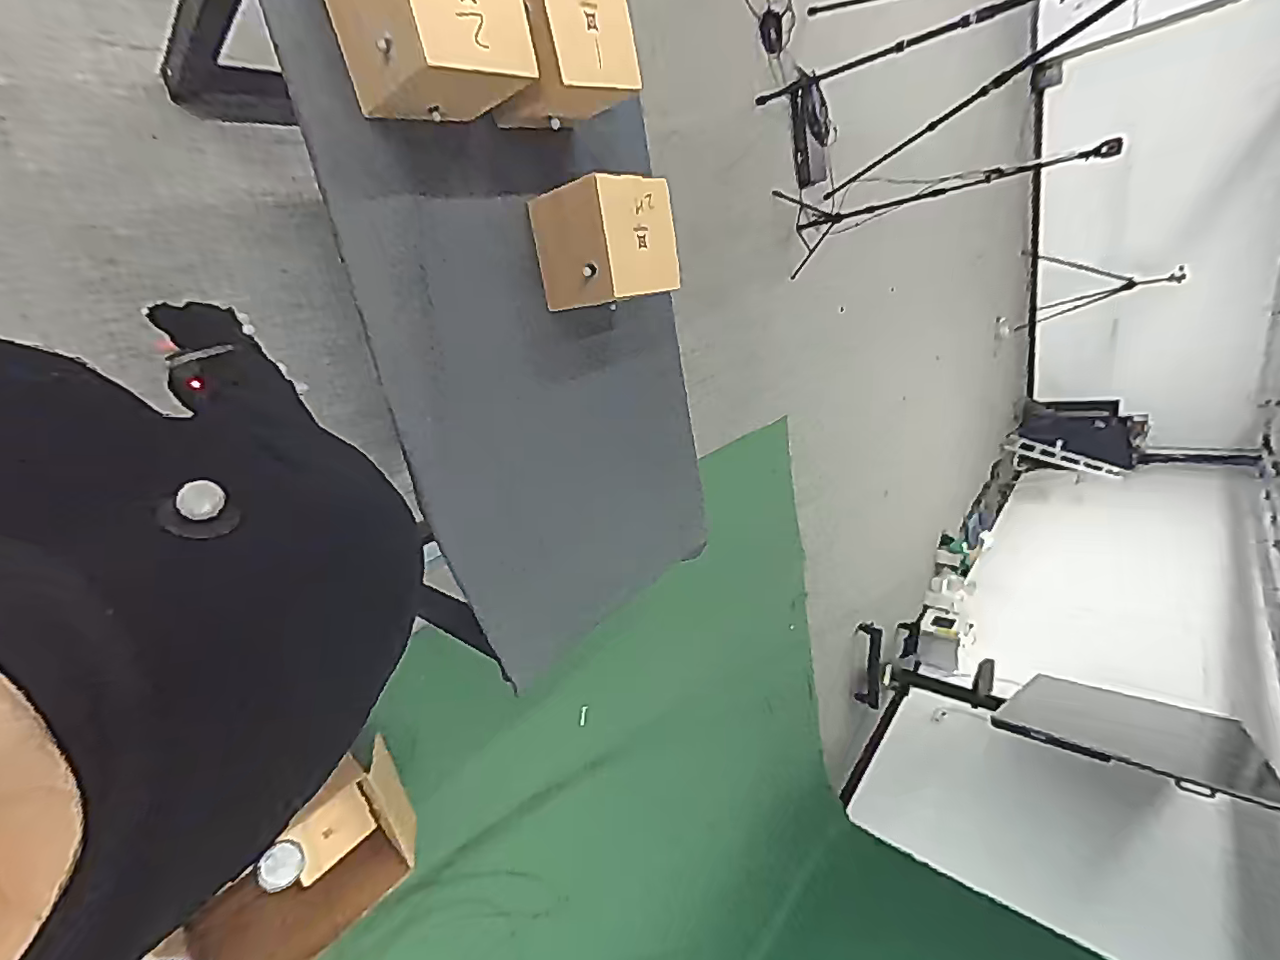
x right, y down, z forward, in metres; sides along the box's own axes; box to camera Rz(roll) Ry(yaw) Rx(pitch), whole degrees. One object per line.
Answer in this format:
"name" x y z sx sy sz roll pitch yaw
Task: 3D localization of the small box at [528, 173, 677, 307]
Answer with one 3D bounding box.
"small box" -0.062 -0.389 0.902 0.168 0.176 0.179 -26 114 -42
